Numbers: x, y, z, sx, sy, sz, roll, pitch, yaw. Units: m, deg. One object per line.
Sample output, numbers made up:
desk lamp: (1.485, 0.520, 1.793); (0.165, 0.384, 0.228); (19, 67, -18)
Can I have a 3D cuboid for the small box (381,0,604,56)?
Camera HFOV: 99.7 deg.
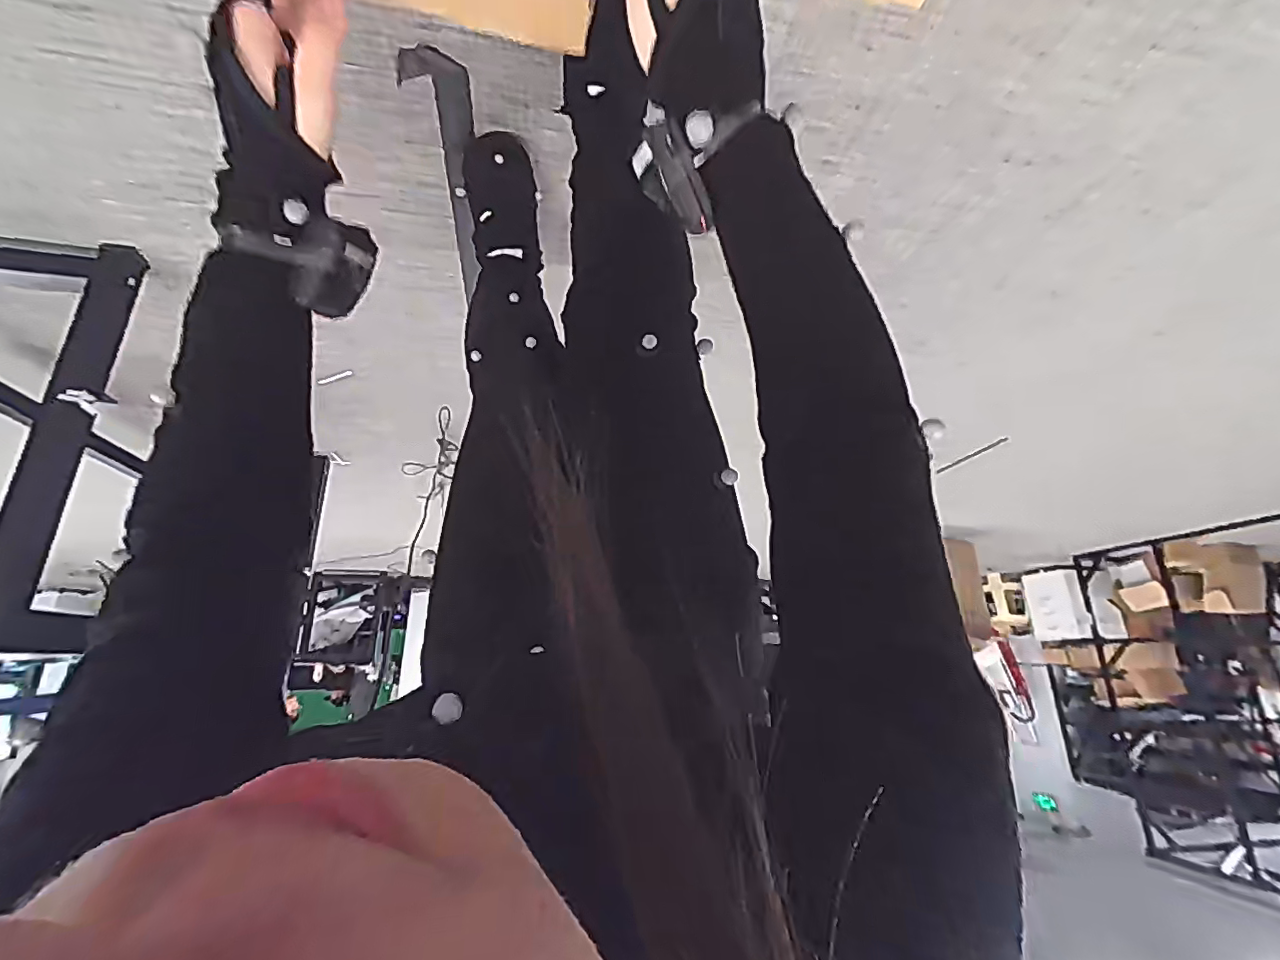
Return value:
small box: (-0.092, -0.381, 0.277); (0.179, 0.176, 0.168); (4, 165, -17)
